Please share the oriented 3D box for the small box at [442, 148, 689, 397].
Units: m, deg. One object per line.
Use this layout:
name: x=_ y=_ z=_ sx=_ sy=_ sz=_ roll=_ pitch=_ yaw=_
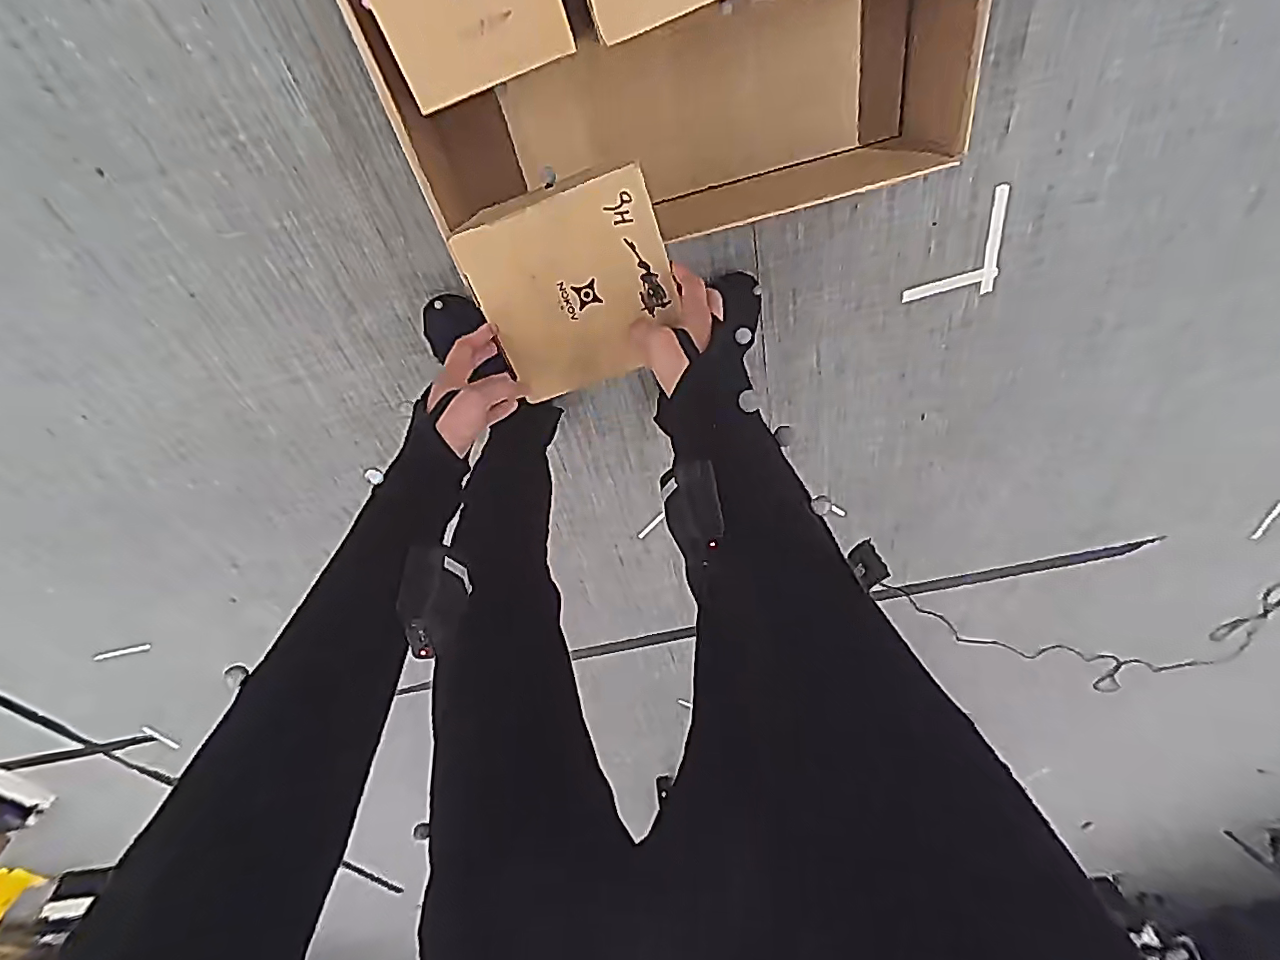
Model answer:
small box: x=-0.062 y=-0.212 z=0.544 sx=0.179 sy=0.176 sz=0.168 roll=-18 pitch=123 yaw=8
